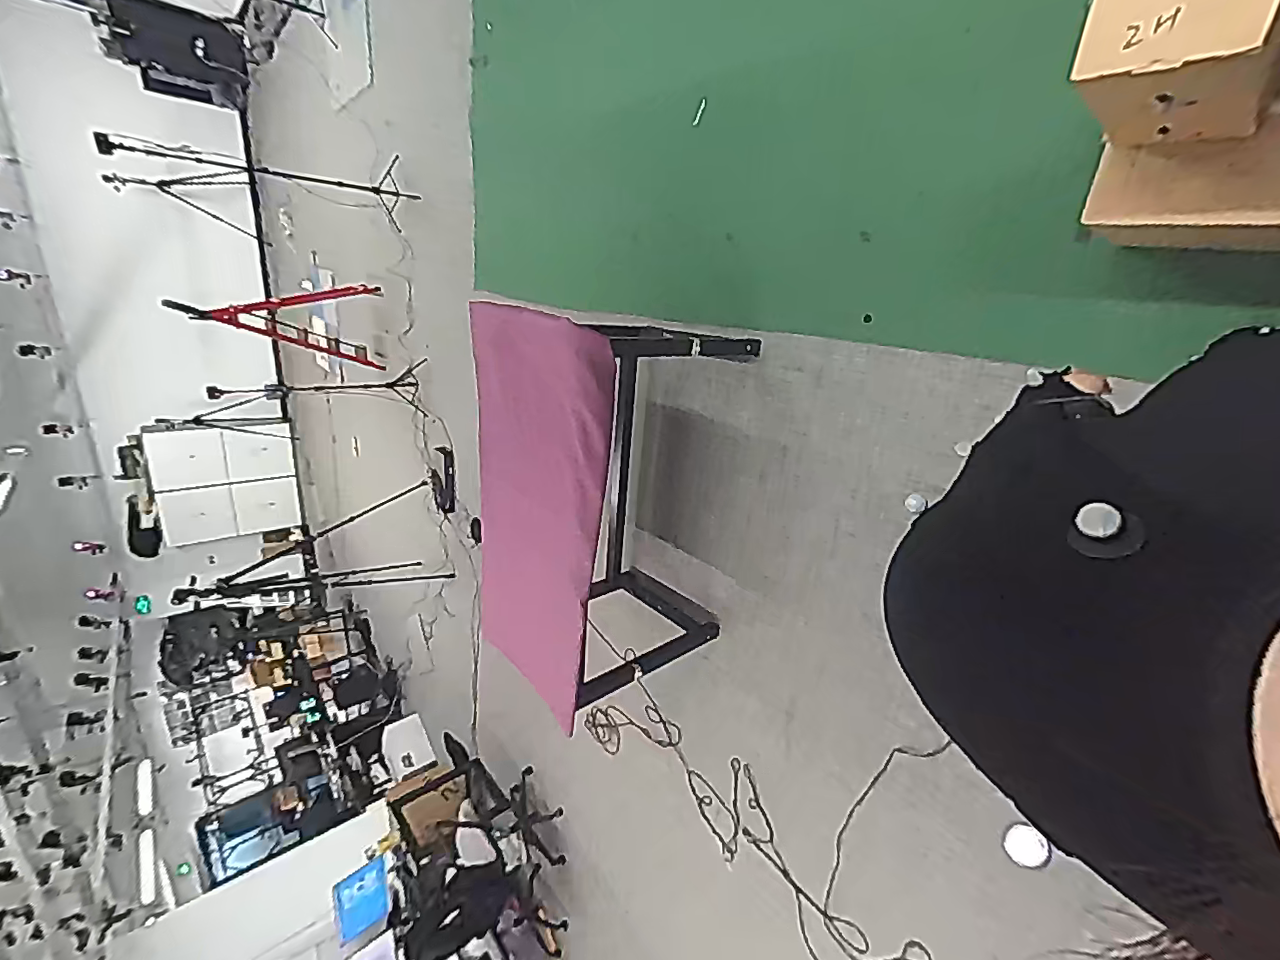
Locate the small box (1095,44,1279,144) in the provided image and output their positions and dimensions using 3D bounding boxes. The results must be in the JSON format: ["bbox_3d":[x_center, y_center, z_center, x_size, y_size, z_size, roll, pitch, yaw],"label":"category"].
[{"bbox_3d":[0.767,-0.585,0.738,0.168,0.176,0.179,26,118,43],"label":"small box"}]

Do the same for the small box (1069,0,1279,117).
[{"bbox_3d":[0.645,-0.557,0.631,0.168,0.176,0.179,25,118,44],"label":"small box"}]

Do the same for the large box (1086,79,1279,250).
[{"bbox_3d":[1.013,-0.542,0.837,0.408,0.320,0.320,26,118,43],"label":"large box"}]
